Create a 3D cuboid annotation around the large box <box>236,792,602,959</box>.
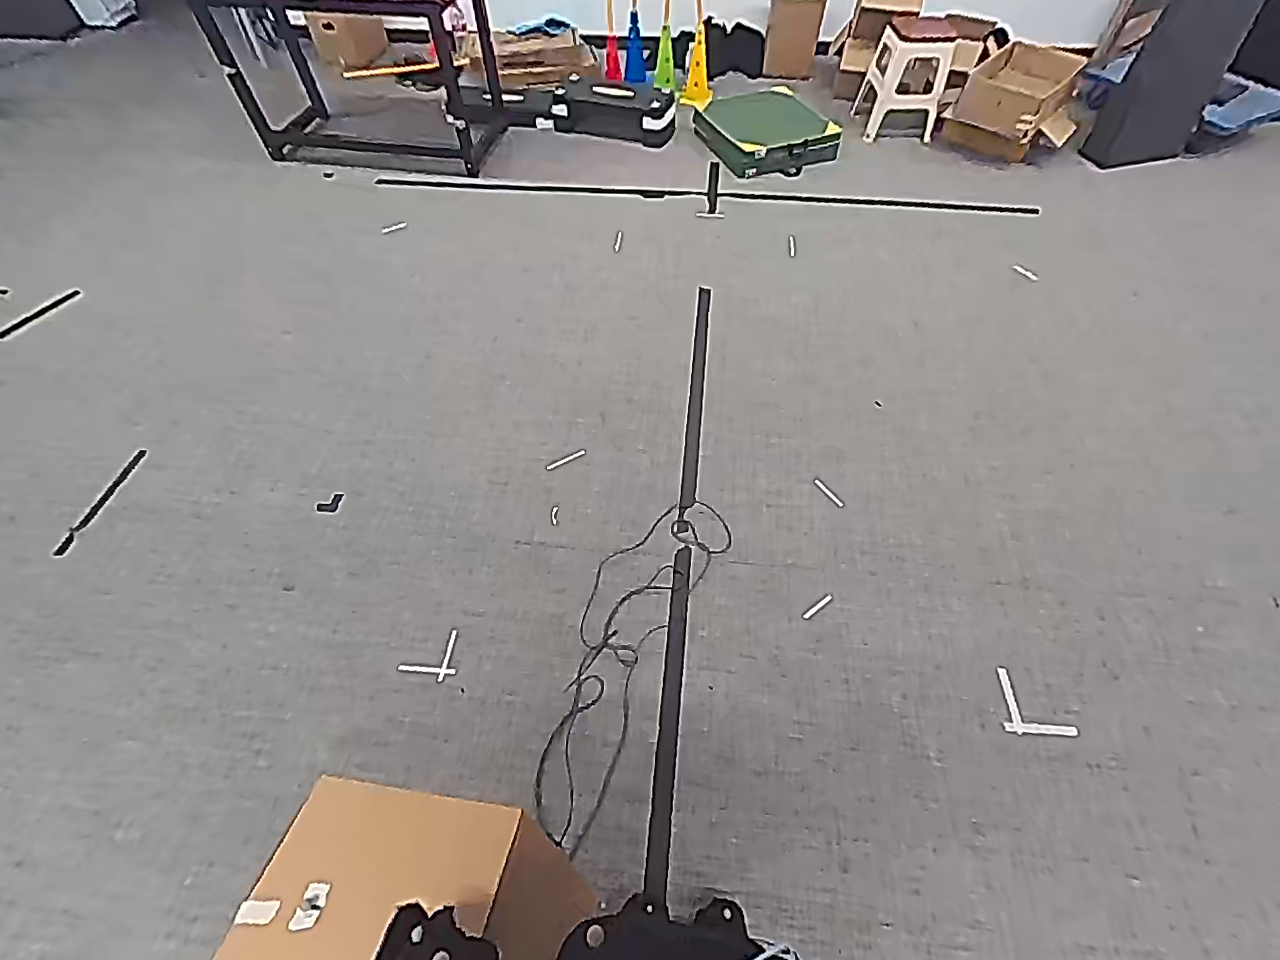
[{"bbox_3d":[-0.276,0.669,0.722,0.320,0.408,0.320,1,41,17],"label":"large box"}]
